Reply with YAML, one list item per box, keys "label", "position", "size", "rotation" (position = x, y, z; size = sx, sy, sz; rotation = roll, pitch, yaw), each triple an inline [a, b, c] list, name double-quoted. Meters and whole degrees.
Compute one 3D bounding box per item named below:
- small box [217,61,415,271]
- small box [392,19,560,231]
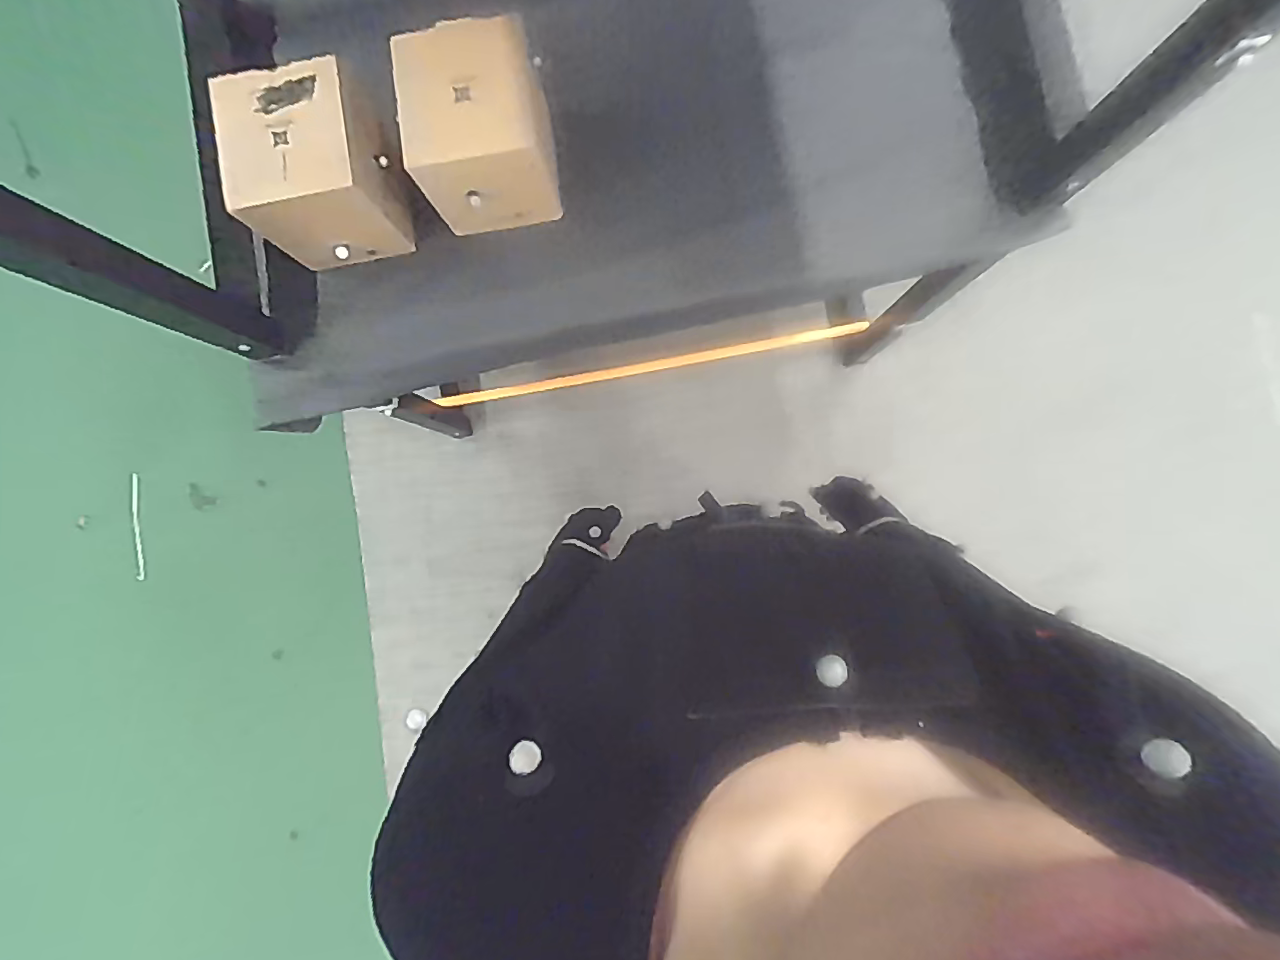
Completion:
- label: "small box"
  position: [-0.435, -0.421, 0.750]
  size: [0.168, 0.176, 0.179]
  rotation: [-10, 86, 2]
- label: "small box"
  position: [-0.213, -0.468, 0.744]
  size: [0.168, 0.176, 0.179]
  rotation: [-9, 85, 2]
